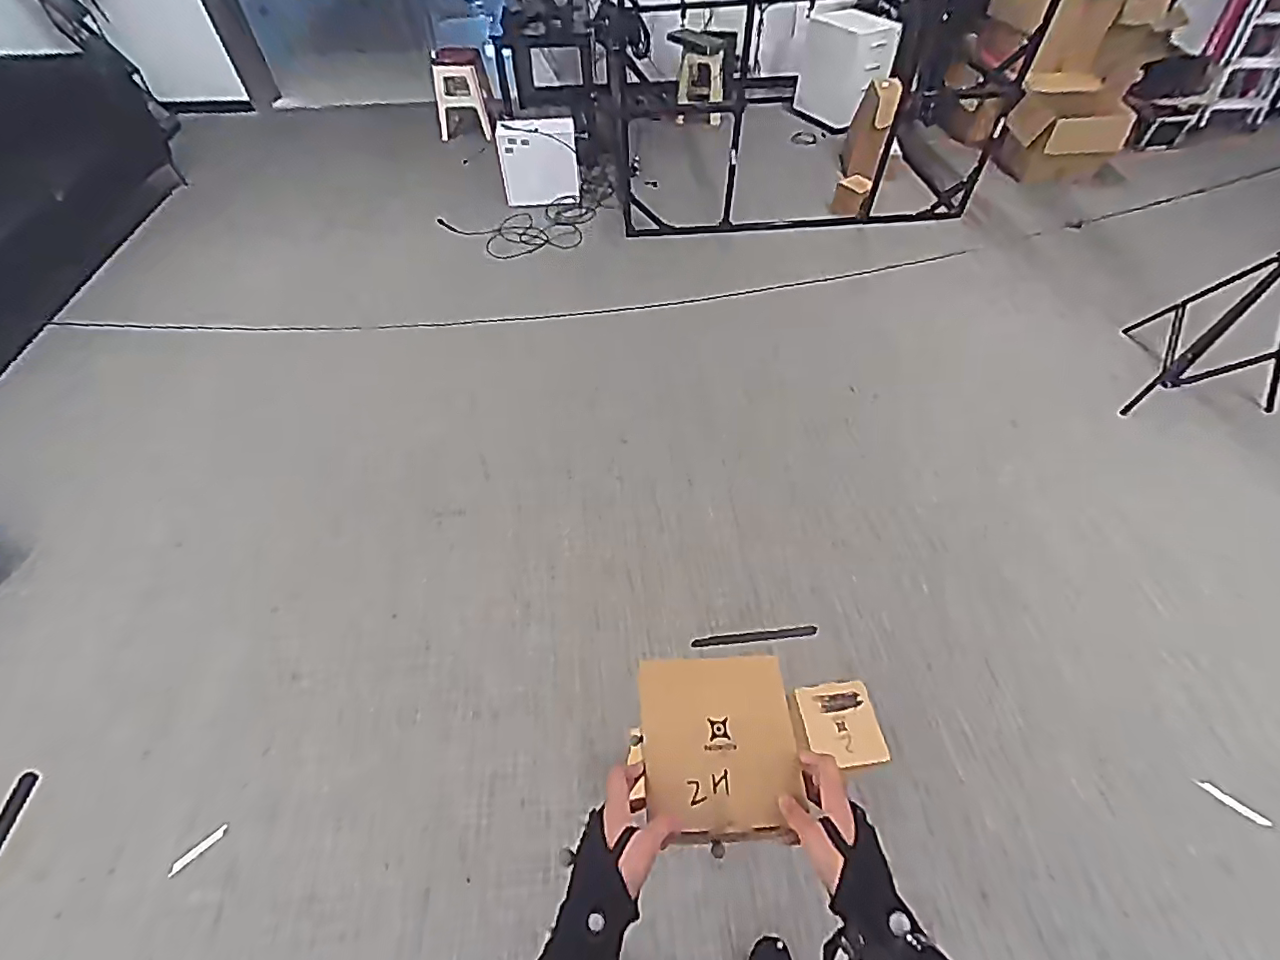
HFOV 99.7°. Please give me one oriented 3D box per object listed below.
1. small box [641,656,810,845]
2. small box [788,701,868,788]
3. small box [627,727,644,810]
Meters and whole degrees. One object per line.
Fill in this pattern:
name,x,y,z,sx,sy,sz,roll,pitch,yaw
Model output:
small box,0.086,0.330,0.656,0.168,0.176,0.179,-2,53,-2
small box,0.455,0.688,1.400,0.179,0.176,0.168,-5,53,-4
small box,0.063,0.738,1.371,0.179,0.176,0.168,1,53,3
